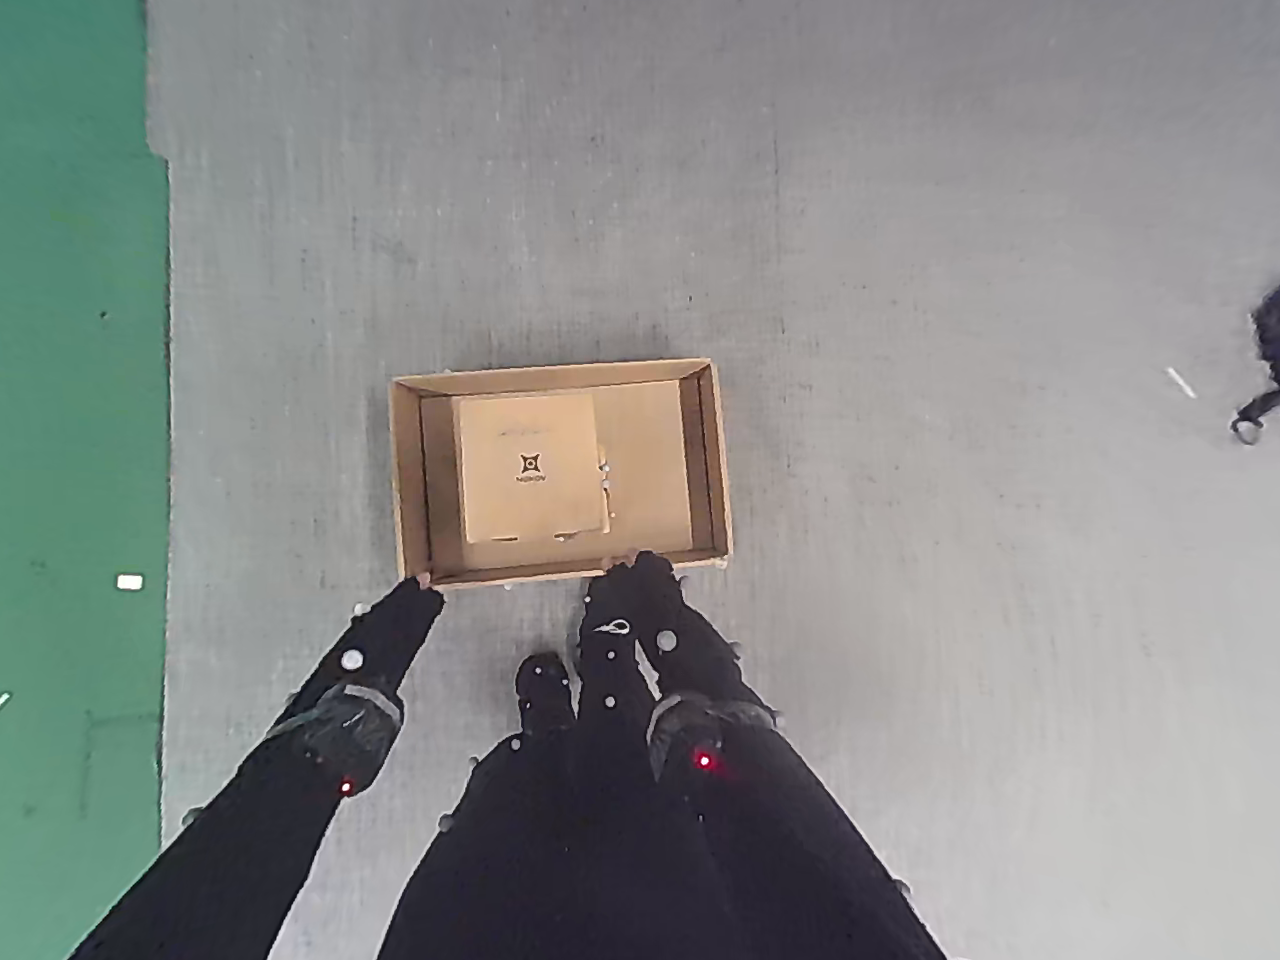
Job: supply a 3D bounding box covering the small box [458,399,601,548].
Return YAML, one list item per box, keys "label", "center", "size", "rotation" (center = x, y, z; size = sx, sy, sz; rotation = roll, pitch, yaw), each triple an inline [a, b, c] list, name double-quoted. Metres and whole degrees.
- label: "small box"
  center: [-0.140, -0.005, 0.740]
  size: [0.168, 0.176, 0.179]
  rotation: [-5, 86, -4]

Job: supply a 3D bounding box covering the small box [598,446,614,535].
- label: "small box"
  center: [-0.149, 0.028, 1.065]
  size: [0.179, 0.176, 0.168]
  rotation: [-6, 87, -4]
